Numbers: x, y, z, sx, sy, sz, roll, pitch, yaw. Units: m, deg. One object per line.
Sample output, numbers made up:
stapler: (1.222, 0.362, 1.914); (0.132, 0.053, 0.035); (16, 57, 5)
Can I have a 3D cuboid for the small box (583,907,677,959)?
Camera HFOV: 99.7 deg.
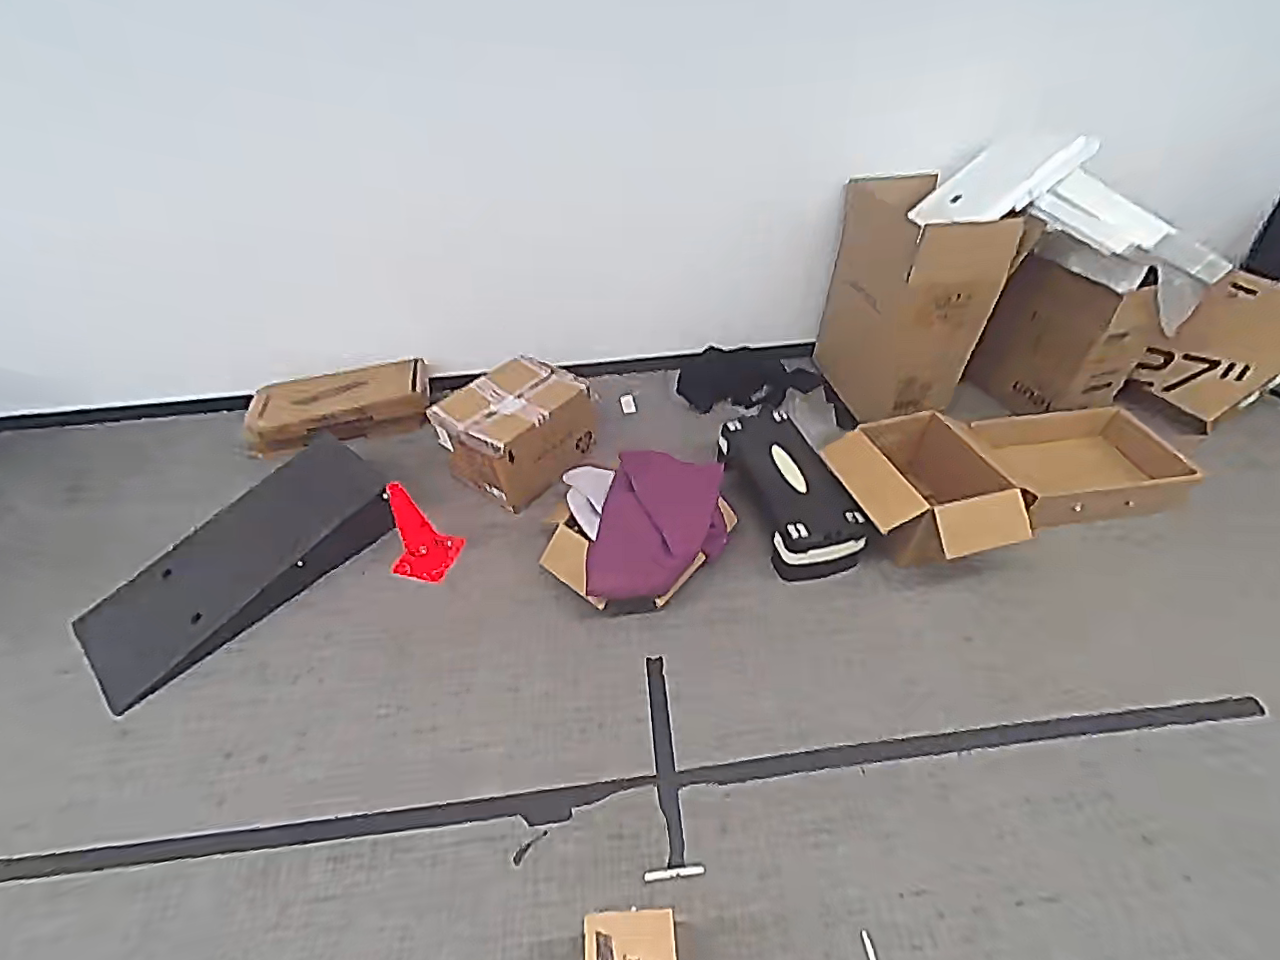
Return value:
small box: (-0.015, 0.956, 1.055); (0.179, 0.176, 0.168); (-3, 44, -1)
